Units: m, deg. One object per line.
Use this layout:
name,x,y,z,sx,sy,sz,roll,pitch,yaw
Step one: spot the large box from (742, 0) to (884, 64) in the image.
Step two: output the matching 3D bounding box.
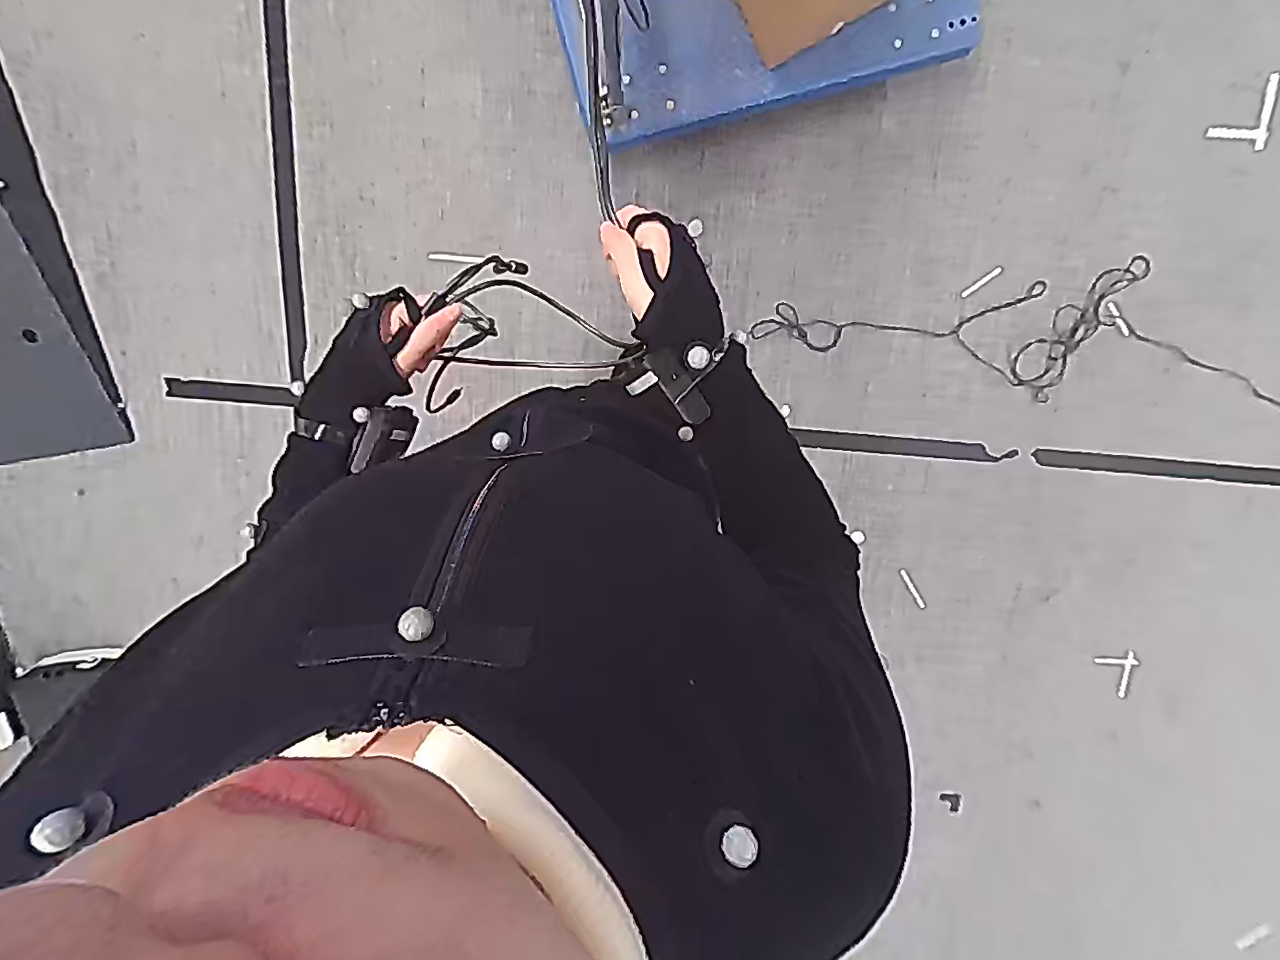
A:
large box,0.318,-1.081,0.949,0.320,0.320,0.408,-28,102,4
